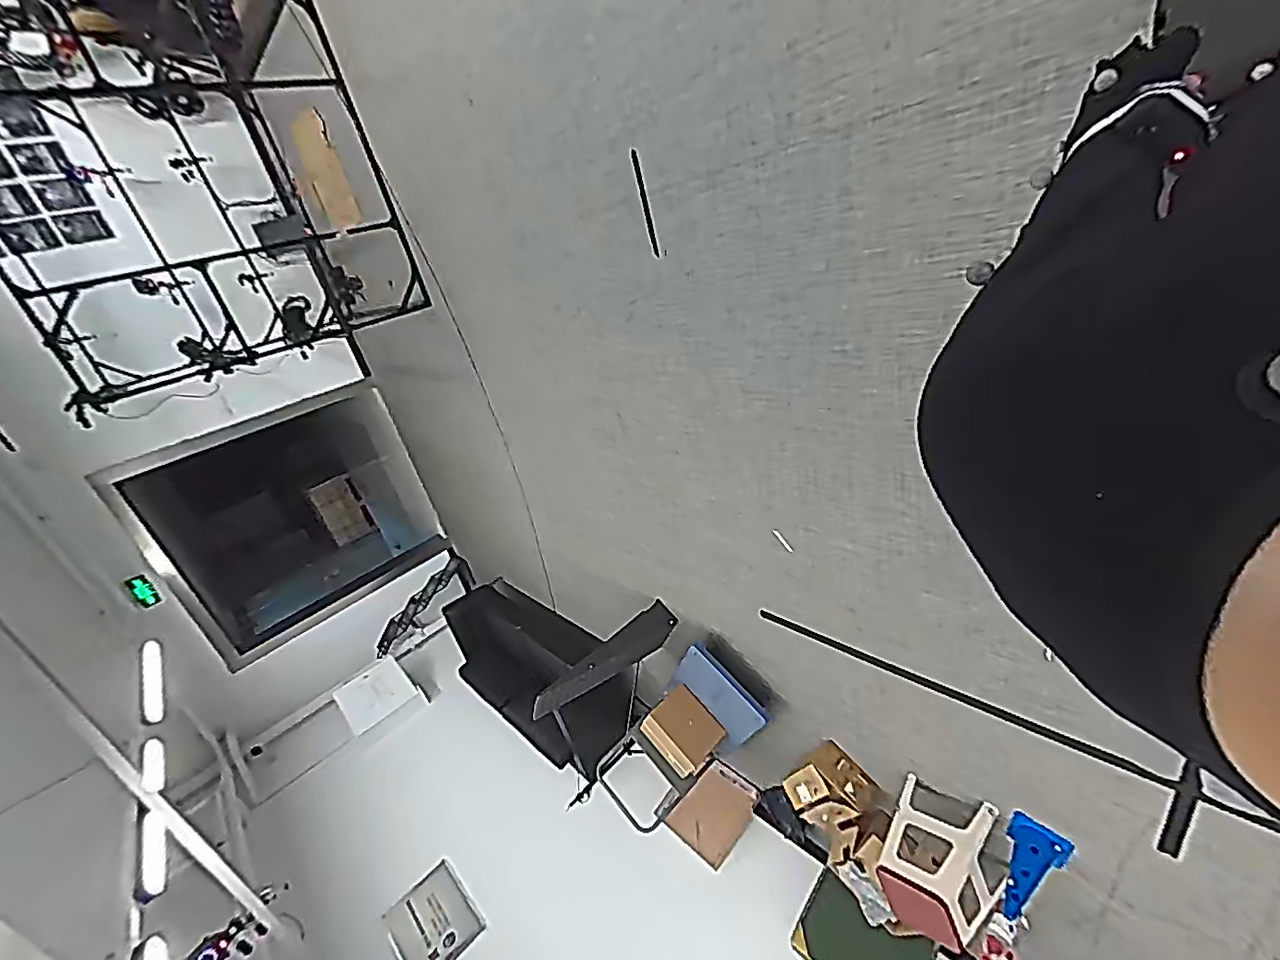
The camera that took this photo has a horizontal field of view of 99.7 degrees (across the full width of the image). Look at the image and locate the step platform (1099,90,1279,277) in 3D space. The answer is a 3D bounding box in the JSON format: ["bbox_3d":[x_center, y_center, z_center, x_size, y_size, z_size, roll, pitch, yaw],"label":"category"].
[{"bbox_3d":[1.205,-0.529,0.892,0.684,0.204,0.286,14,127,48],"label":"step platform"}]
